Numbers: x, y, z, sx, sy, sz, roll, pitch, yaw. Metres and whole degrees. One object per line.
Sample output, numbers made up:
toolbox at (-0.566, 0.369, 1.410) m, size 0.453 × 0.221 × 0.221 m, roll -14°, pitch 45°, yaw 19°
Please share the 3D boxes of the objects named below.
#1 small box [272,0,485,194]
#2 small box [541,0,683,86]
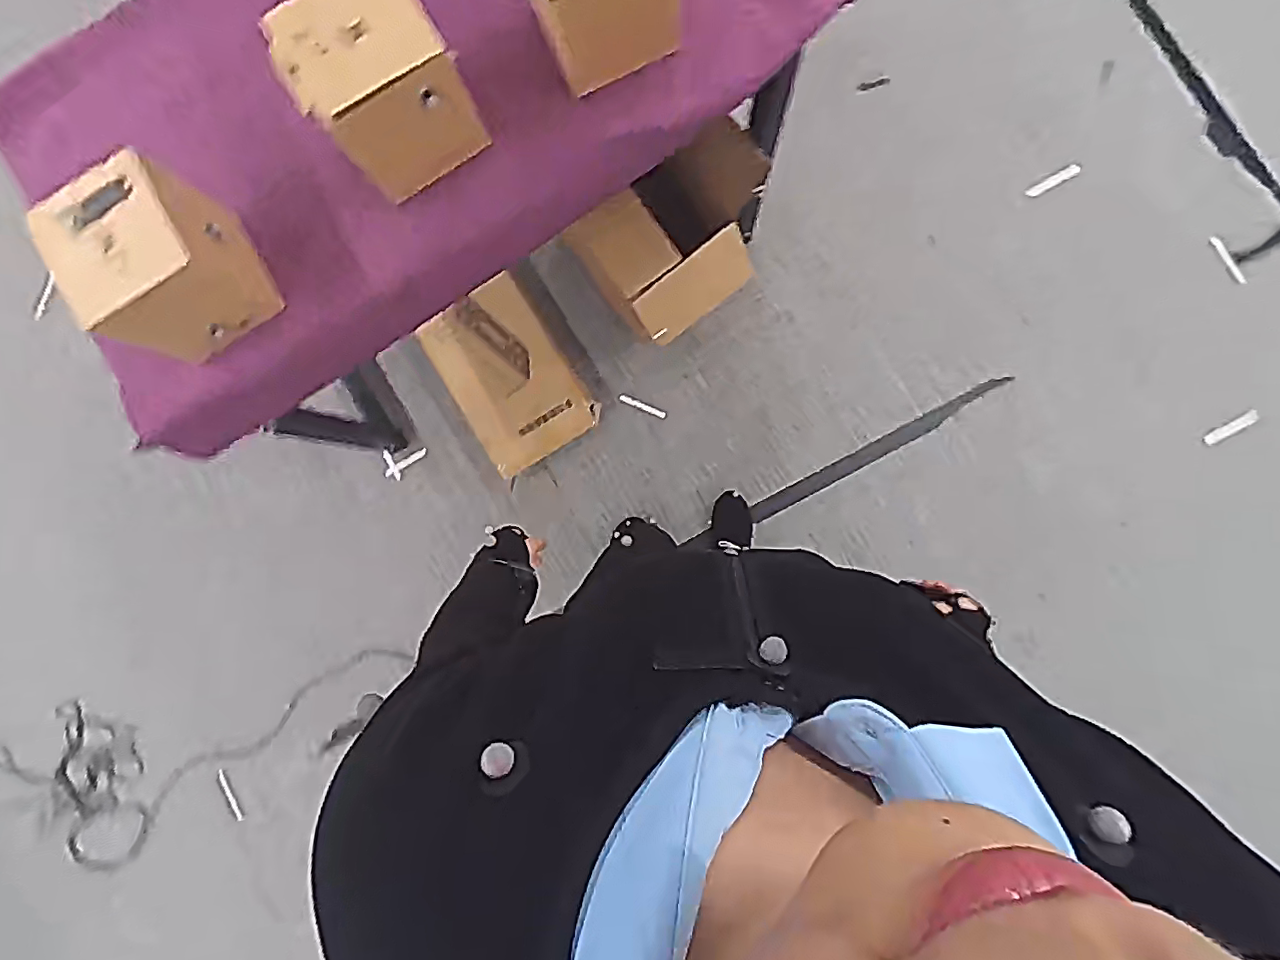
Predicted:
small box at (-0.332, -0.538, 0.731) m, size 0.179 × 0.176 × 0.168 m, roll -31°, pitch 84°, yaw 2°
small box at (-0.048, -0.681, 0.719) m, size 0.179 × 0.176 × 0.168 m, roll -24°, pitch 87°, yaw 2°
